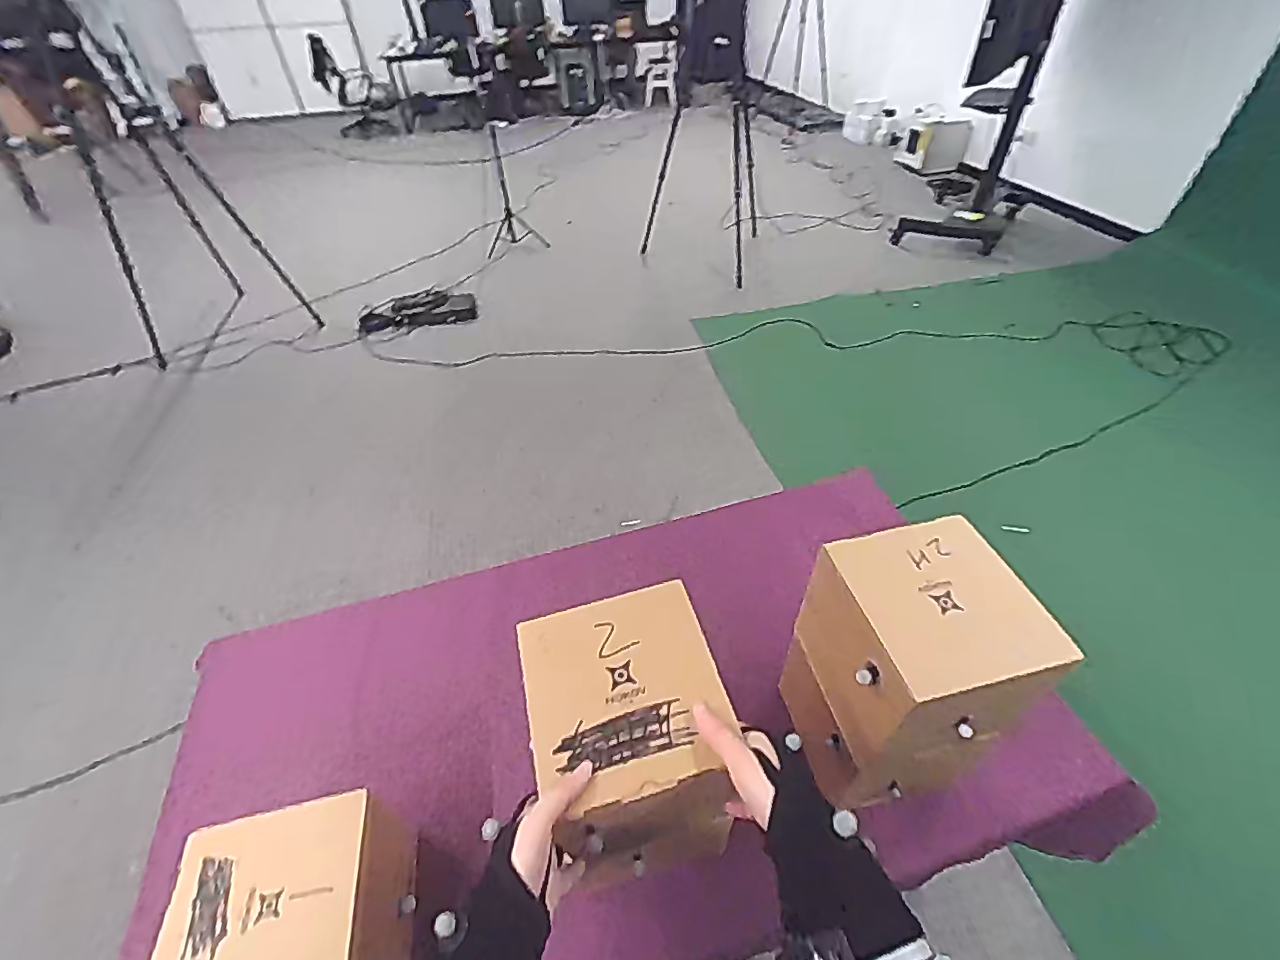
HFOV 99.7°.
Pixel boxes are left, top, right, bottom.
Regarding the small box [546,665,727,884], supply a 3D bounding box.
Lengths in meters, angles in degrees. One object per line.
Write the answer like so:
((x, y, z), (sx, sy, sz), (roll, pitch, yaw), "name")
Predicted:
((-0.005, 0.352, 0.645), (0.179, 0.176, 0.168), (-11, 45, -7), "small box")

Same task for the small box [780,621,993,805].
((0.295, 0.285, 0.698), (0.168, 0.176, 0.179), (-10, 45, -7), "small box")

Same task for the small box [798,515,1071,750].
((0.290, 0.168, 0.582), (0.168, 0.176, 0.179), (-10, 45, -8), "small box")

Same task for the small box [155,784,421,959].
((-0.347, 0.451, 0.562), (0.179, 0.176, 0.168), (-10, 45, -9), "small box")
